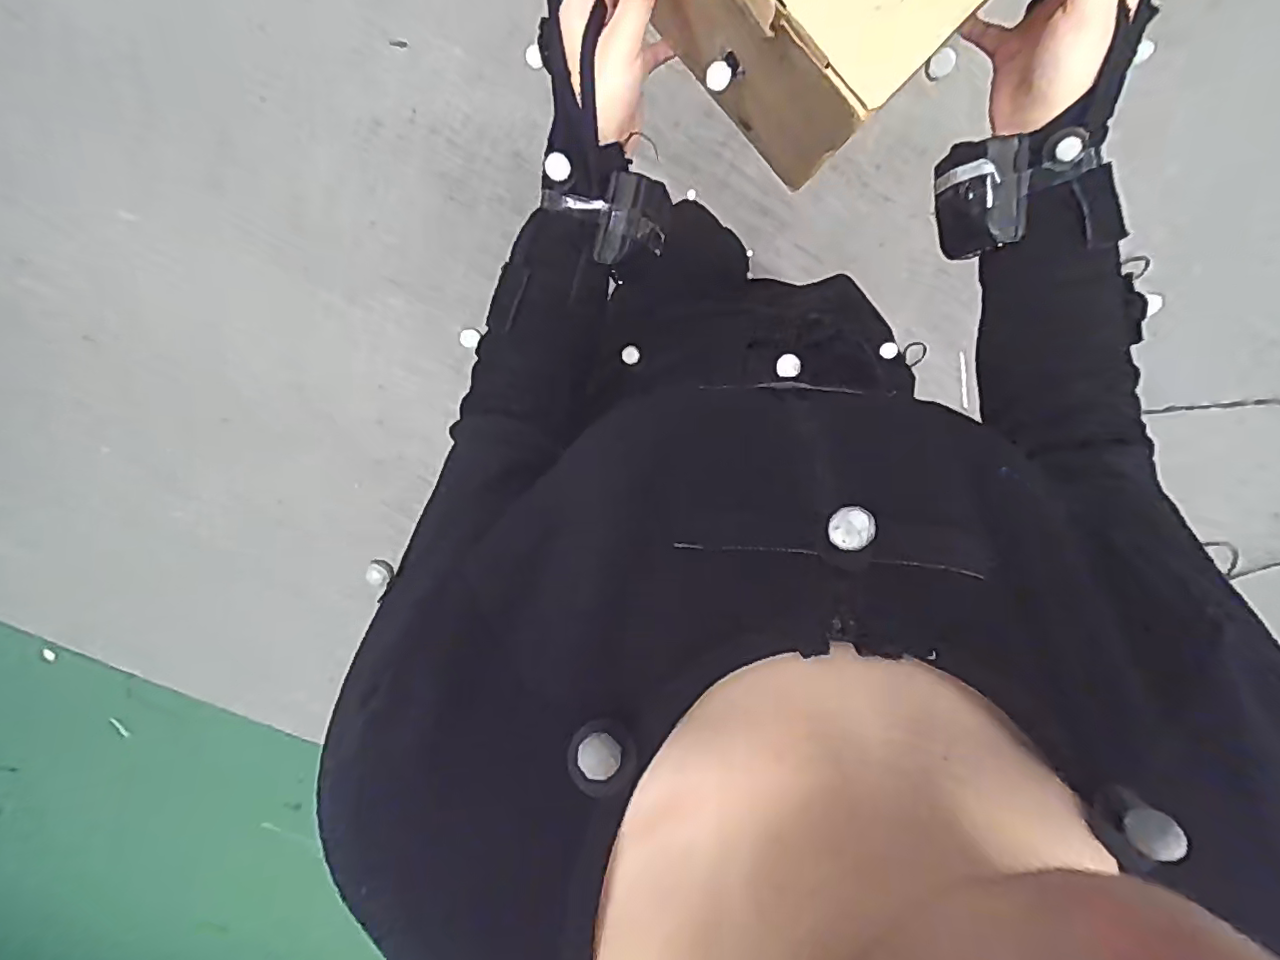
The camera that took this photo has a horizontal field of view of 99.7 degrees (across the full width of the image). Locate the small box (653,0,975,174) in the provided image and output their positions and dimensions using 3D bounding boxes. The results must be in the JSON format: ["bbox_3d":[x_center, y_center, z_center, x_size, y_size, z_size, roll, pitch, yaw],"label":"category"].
[{"bbox_3d":[0.110,-0.311,0.301,0.168,0.176,0.179,44,106,-9],"label":"small box"}]
